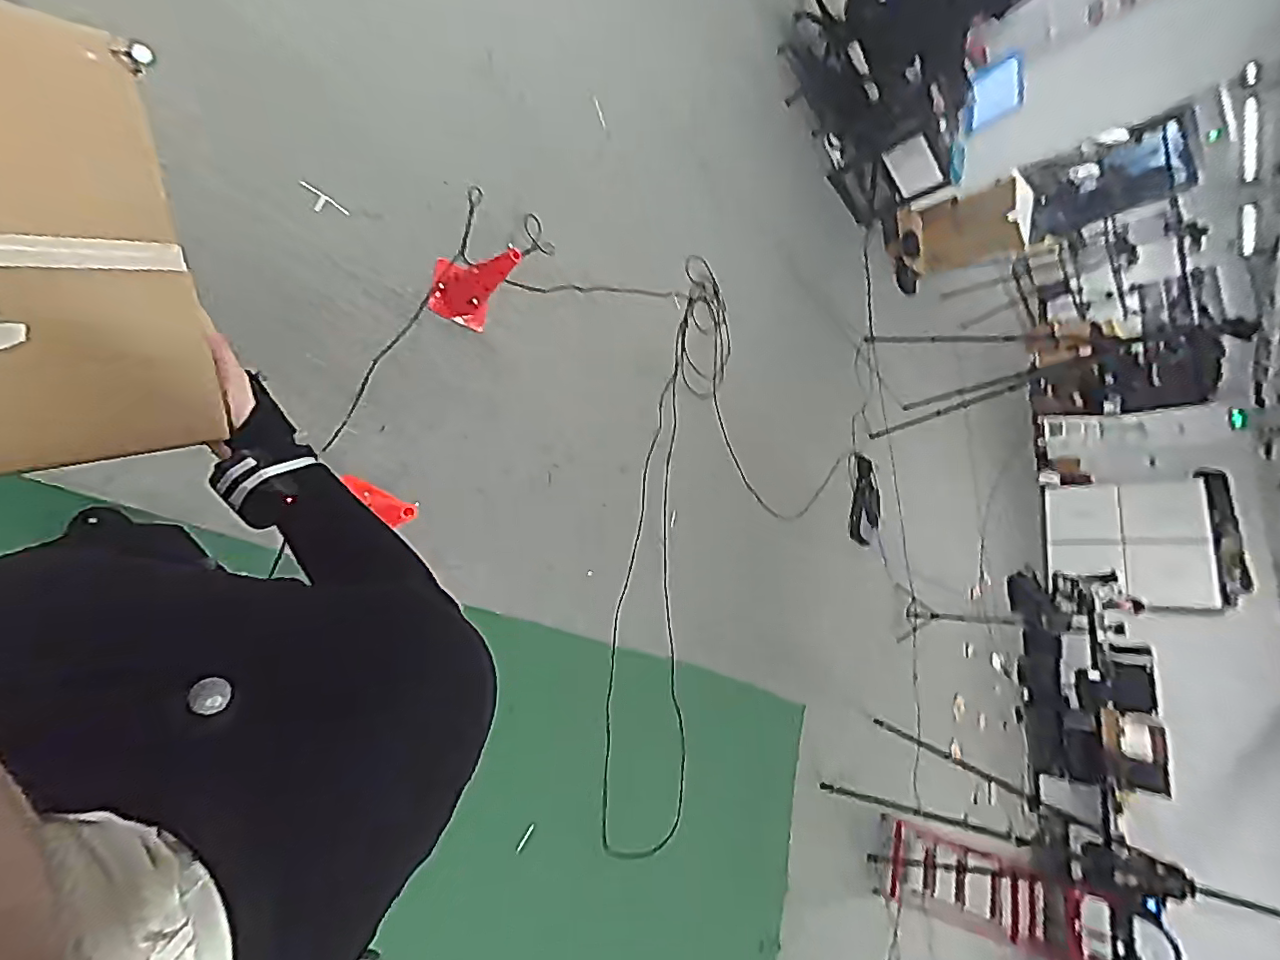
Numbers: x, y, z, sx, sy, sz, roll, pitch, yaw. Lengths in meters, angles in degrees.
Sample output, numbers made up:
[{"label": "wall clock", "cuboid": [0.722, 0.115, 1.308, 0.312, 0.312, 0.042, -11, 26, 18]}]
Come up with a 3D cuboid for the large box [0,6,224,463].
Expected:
[{"label": "large box", "cuboid": [-0.631, -0.167, 0.402, 0.408, 0.320, 0.320, -21, 116, -49]}]
